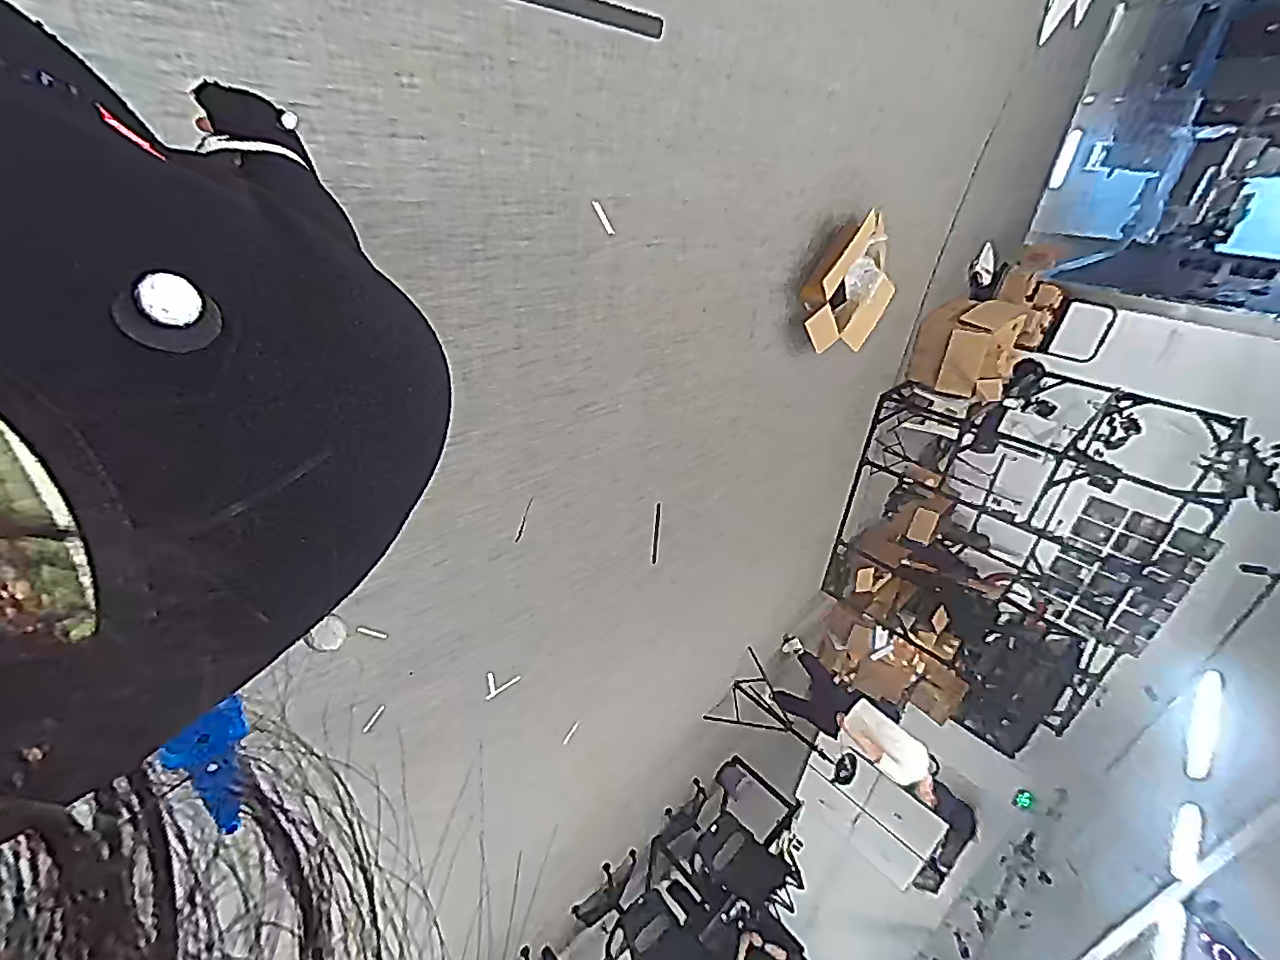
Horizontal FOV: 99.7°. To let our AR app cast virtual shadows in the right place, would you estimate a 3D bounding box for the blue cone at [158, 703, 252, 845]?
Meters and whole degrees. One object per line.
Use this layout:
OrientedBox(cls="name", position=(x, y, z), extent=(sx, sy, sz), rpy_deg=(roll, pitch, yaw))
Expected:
OrientedBox(cls="blue cone", position=(-1.112, 0.808, 1.436), extent=(0.193, 0.380, 0.192), rpy_deg=(-20, 129, -40))
